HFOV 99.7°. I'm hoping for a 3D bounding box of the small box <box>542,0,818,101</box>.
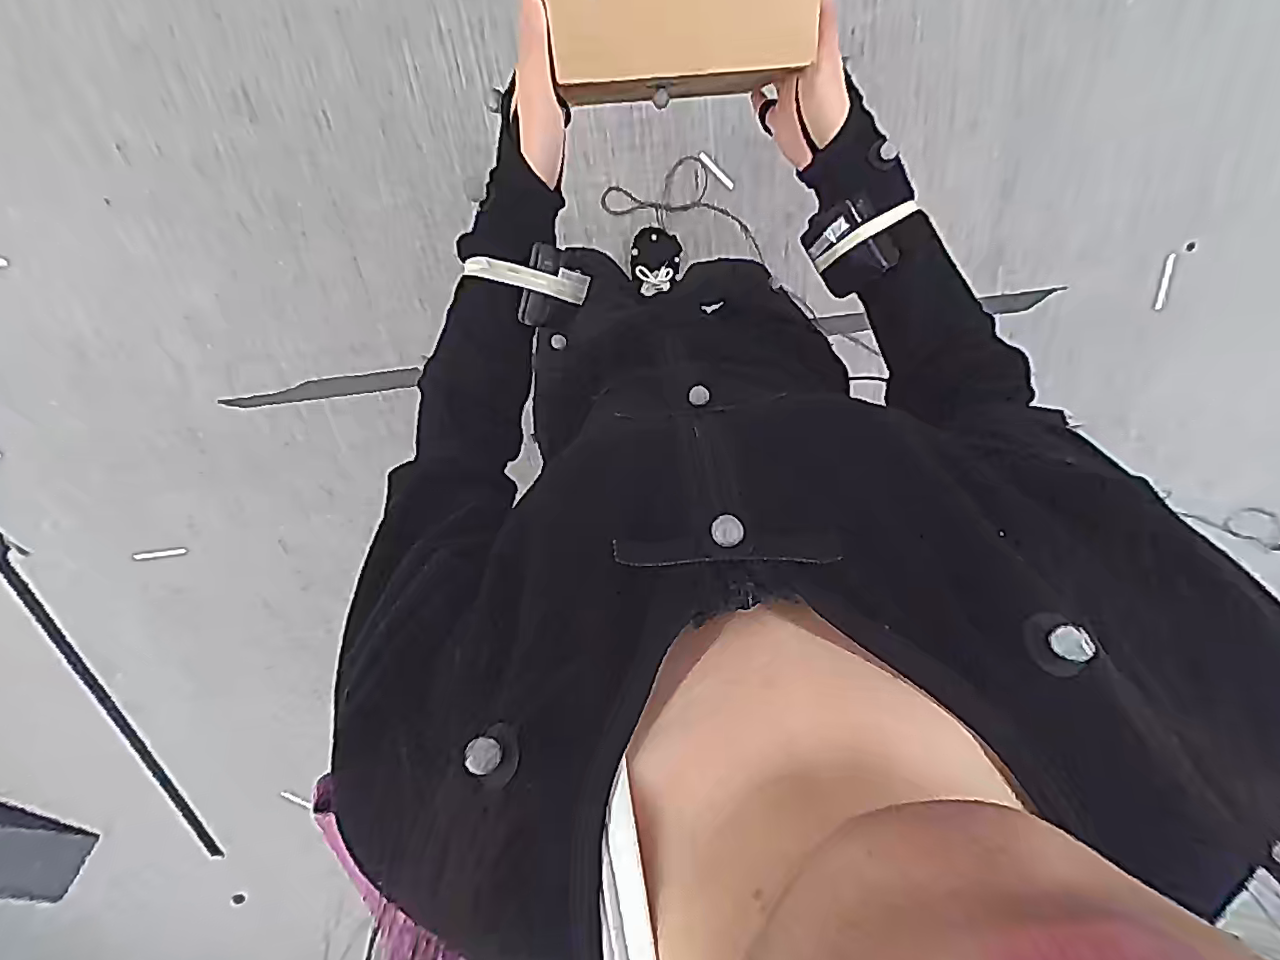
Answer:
[{"bbox_3d":[0.018,-0.379,0.383,0.179,0.176,0.168,-6,121,-2],"label":"small box"}]
